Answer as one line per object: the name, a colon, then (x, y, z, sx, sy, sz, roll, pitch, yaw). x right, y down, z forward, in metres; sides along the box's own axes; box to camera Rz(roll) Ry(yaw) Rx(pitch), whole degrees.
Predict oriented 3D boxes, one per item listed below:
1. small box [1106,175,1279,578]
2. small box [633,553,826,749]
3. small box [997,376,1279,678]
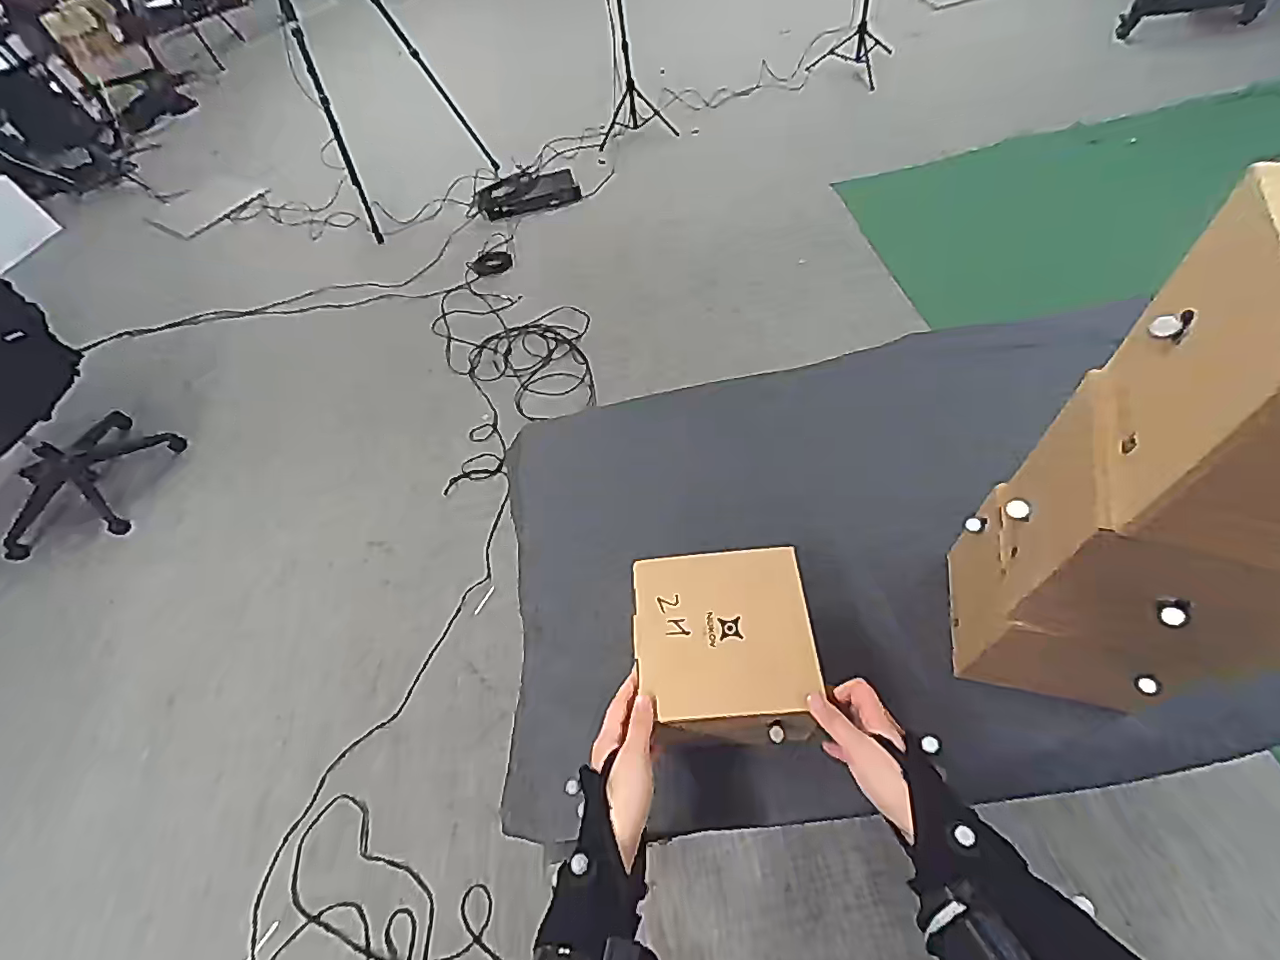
small box: (0.410, -0.047, 0.312, 0.179, 0.176, 0.168, 15, 59, 19)
small box: (0.090, 0.196, 0.602, 0.179, 0.176, 0.168, -6, 56, 6)
small box: (0.430, 0.044, 0.445, 0.179, 0.176, 0.168, 15, 59, 20)
